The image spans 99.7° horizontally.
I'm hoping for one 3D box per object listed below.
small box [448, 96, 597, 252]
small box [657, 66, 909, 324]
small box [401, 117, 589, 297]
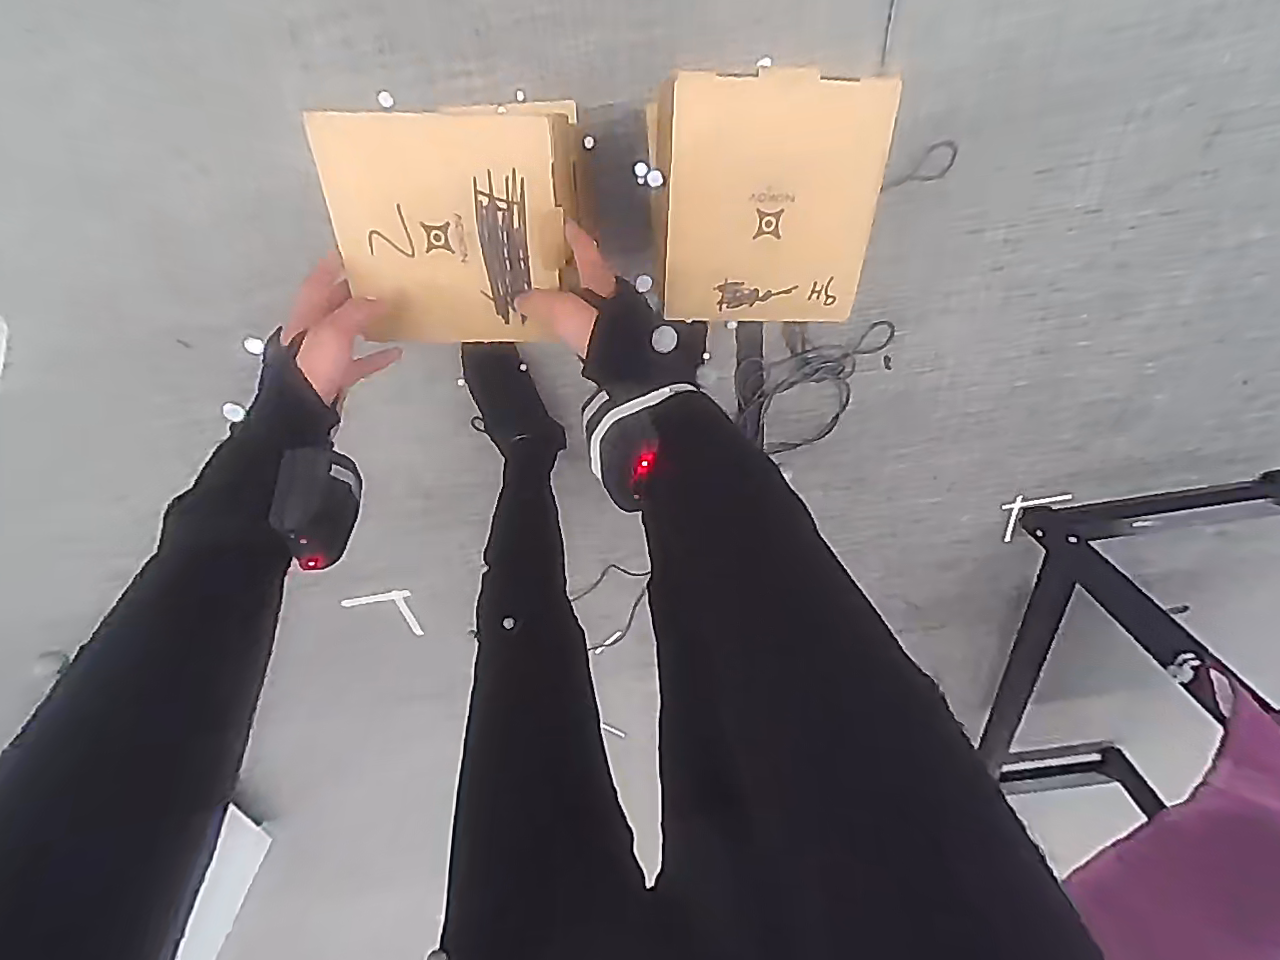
[{"bbox_3d":[-0.150,-0.424,0.756,0.168,0.176,0.179,-3,124,0],"label":"small box"},{"bbox_3d":[0.105,-0.253,0.491,0.168,0.176,0.179,1,123,-3],"label":"small box"},{"bbox_3d":[-0.149,-0.320,0.629,0.179,0.176,0.168,1,124,-2],"label":"small box"}]
